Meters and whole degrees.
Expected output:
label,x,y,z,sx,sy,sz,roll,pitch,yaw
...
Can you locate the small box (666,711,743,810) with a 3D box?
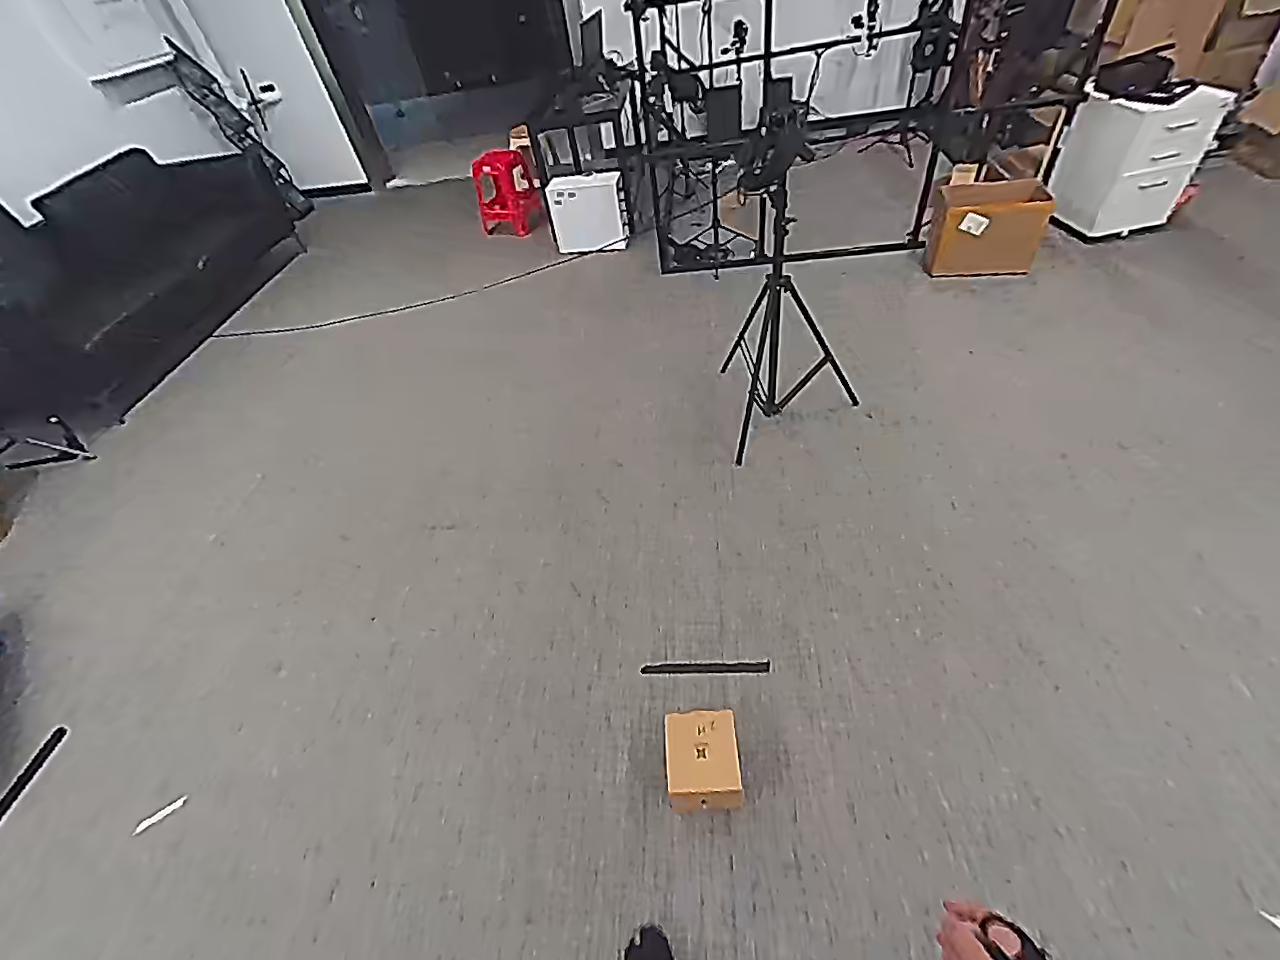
label,x,y,z,sx,sy,sz,roll,pitch,yaw
small box,0.154,0.673,1.290,0.168,0.176,0.179,-5,45,5
